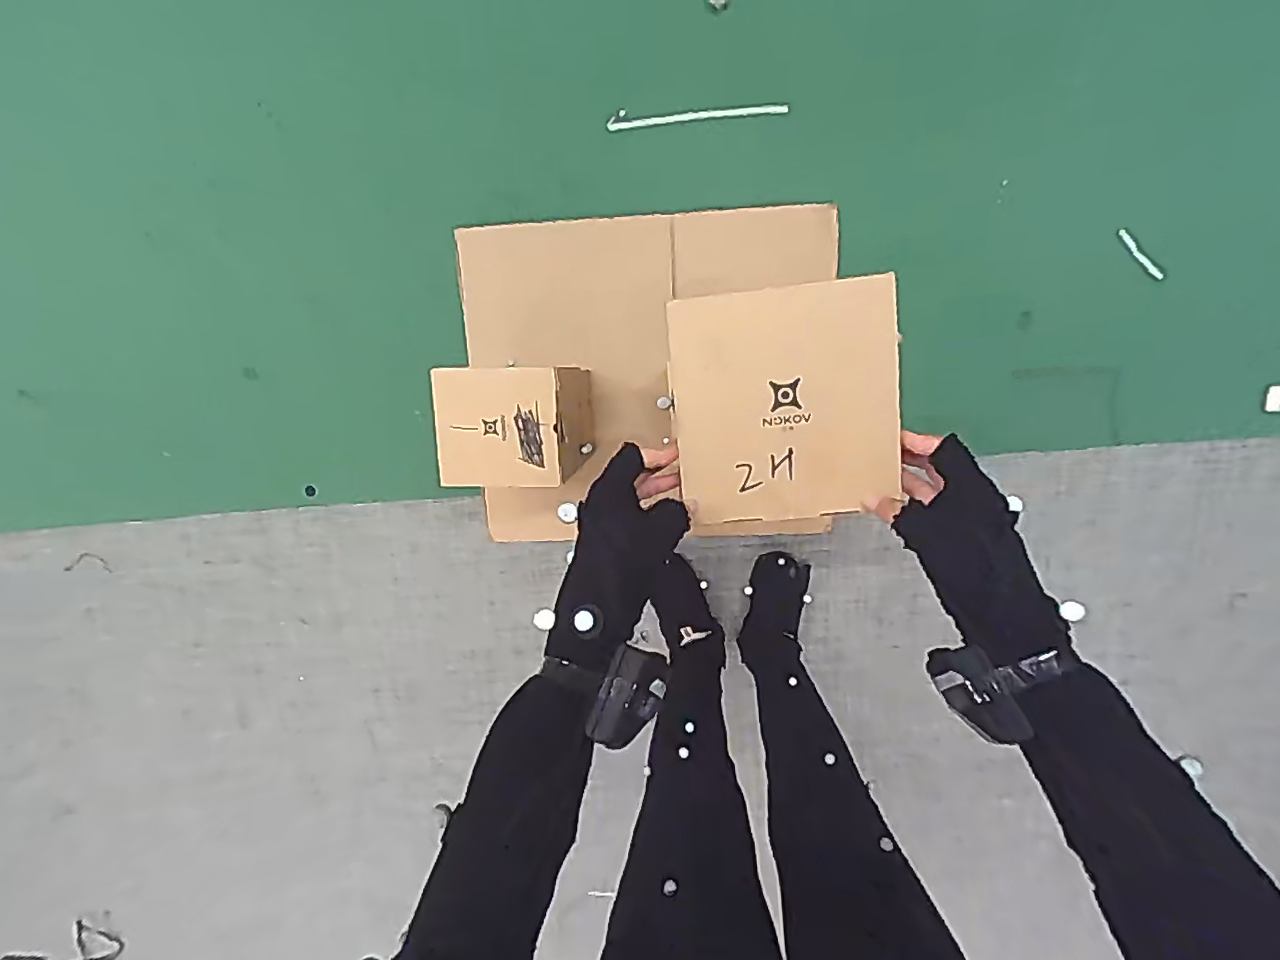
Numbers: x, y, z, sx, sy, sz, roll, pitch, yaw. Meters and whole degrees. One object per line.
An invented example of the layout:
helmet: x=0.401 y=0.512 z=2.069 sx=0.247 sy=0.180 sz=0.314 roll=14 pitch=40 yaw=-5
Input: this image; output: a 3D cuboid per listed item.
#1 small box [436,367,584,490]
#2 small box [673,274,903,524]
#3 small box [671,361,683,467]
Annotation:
small box: x=-0.181 y=-0.084 z=0.814 sx=0.179 sy=0.176 sz=0.168 roll=1 pitch=101 yaw=6
small box: x=0.118 y=-0.068 z=0.483 sx=0.168 sy=0.176 sz=0.179 roll=-5 pitch=99 yaw=7
small box: x=0.141 y=-0.126 z=0.955 sx=0.168 sy=0.176 sz=0.179 roll=-4 pitch=102 yaw=5
